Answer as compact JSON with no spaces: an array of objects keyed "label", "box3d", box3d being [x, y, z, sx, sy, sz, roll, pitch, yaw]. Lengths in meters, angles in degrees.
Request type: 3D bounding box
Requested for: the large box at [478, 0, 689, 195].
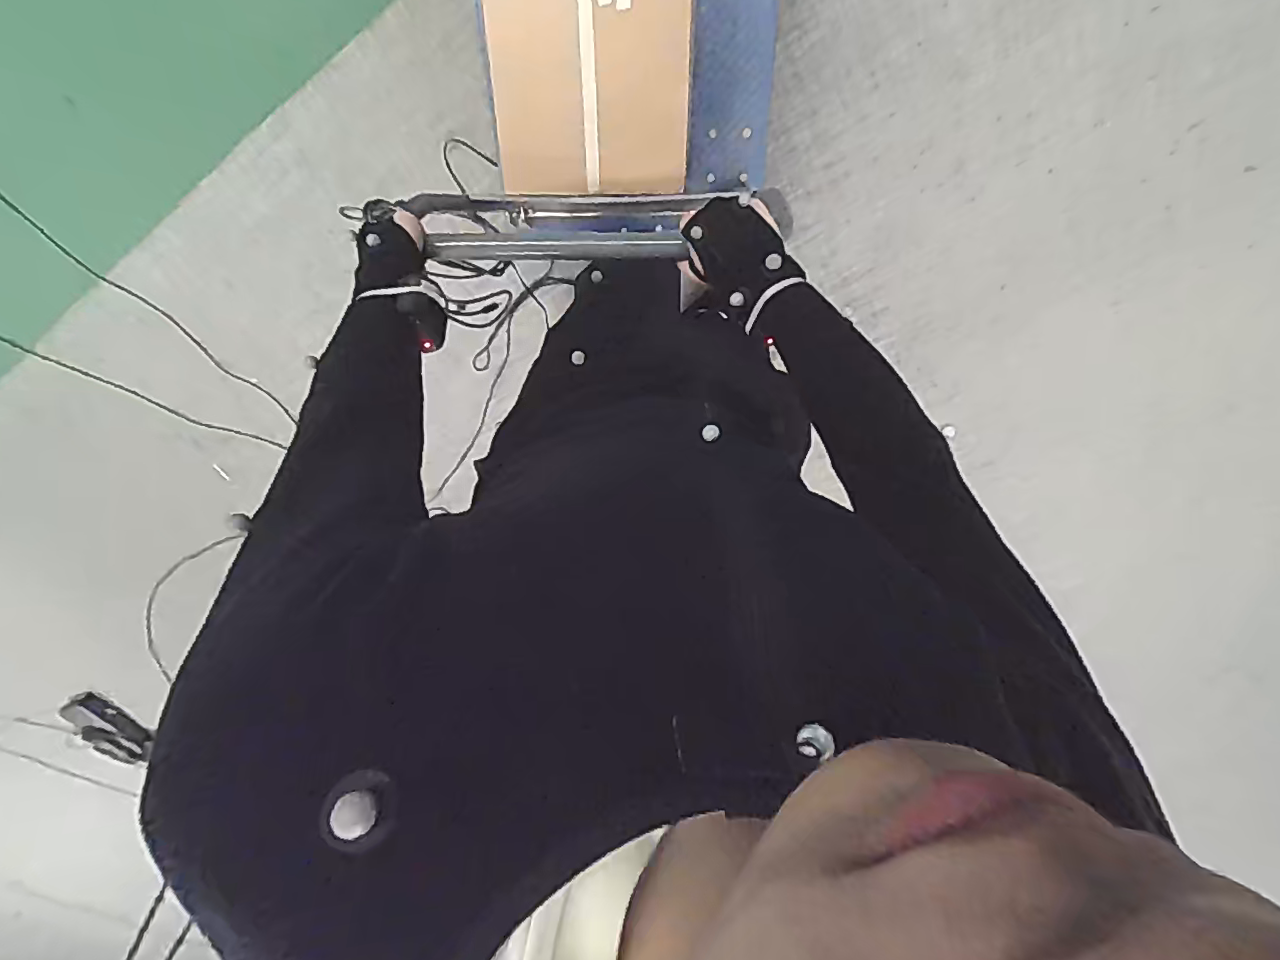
[{"label":"large box","box3d":[-0.074,-0.736,0.948,0.320,0.320,0.408,2,121,4]}]
